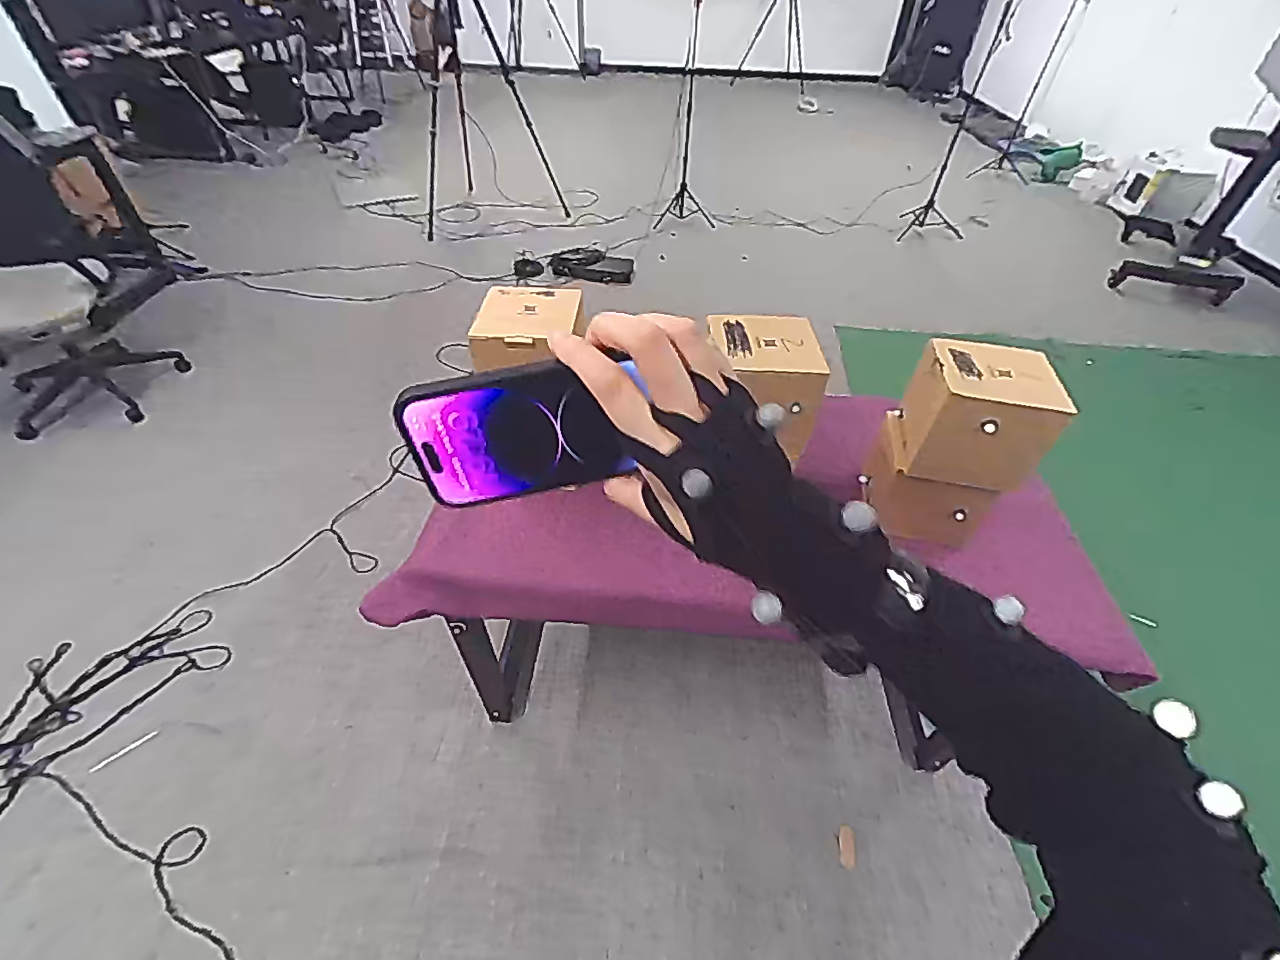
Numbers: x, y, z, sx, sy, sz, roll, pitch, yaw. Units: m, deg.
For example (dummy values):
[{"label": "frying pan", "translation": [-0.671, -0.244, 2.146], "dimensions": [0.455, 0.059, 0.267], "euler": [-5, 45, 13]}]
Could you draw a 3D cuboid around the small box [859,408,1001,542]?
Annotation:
[{"label": "small box", "translation": [0.525, -0.006, 1.004], "dimensions": [0.179, 0.176, 0.168], "euler": [11, 46, 8]}]

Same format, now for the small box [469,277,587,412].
[{"label": "small box", "translation": [-0.187, -0.238, 0.963], "dimensions": [0.168, 0.176, 0.179], "euler": [4, 47, 0]}]

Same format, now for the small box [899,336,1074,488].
[{"label": "small box", "translation": [0.538, -0.107, 0.876], "dimensions": [0.179, 0.176, 0.168], "euler": [12, 47, 7]}]

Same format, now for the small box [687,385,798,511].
[{"label": "small box", "translation": [0.190, -0.058, 1.035], "dimensions": [0.179, 0.176, 0.168], "euler": [7, 46, 4]}]

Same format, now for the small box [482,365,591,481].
[{"label": "small box", "translation": [-0.194, -0.119, 1.076], "dimensions": [0.168, 0.176, 0.179], "euler": [7, 46, 4]}]
